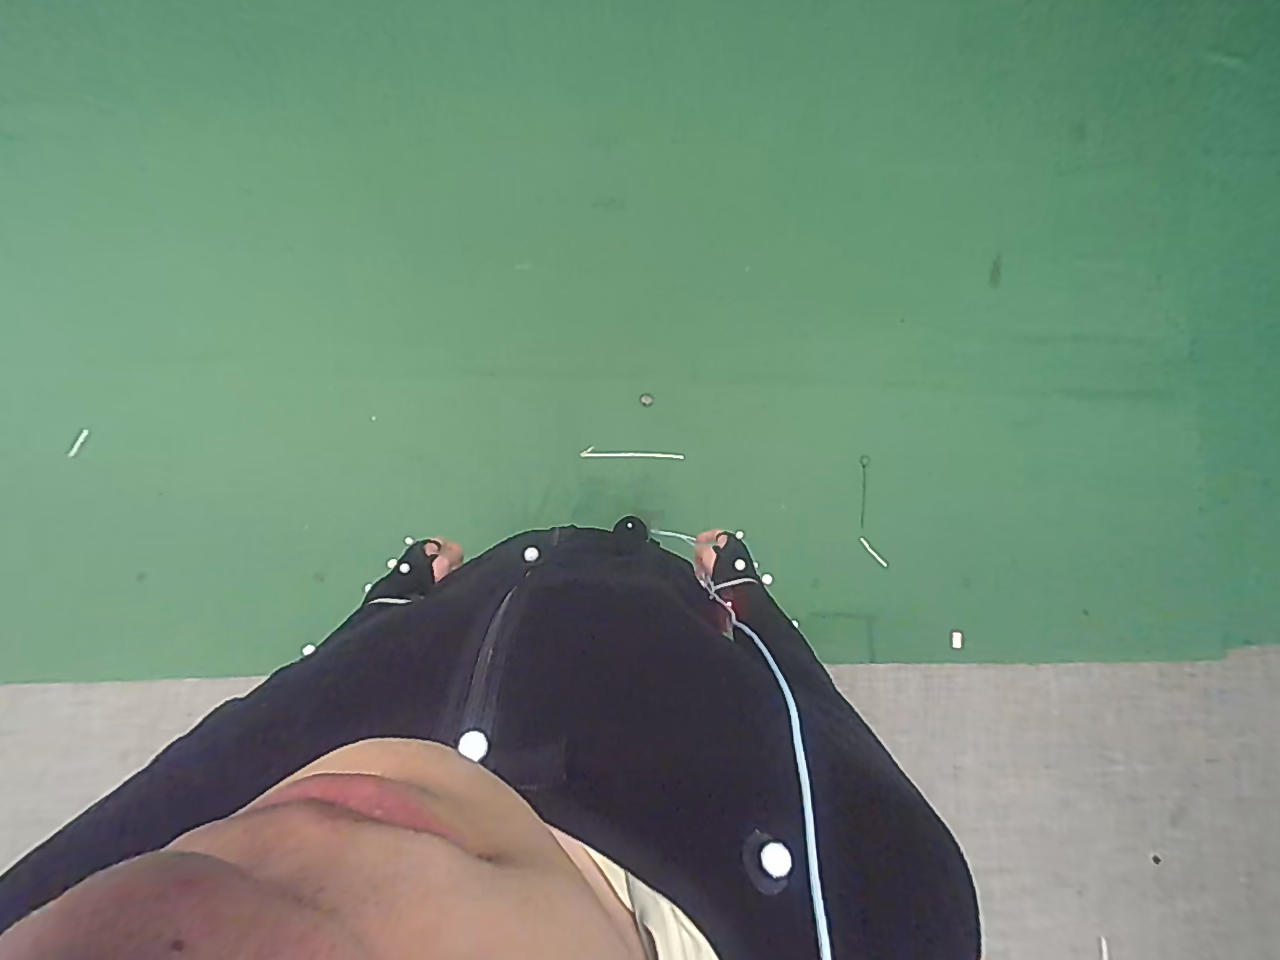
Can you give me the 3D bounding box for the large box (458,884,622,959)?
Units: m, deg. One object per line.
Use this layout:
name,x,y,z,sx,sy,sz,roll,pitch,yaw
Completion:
large box,-0.248,1.320,1.403,0.408,0.320,0.320,-1,86,-5
